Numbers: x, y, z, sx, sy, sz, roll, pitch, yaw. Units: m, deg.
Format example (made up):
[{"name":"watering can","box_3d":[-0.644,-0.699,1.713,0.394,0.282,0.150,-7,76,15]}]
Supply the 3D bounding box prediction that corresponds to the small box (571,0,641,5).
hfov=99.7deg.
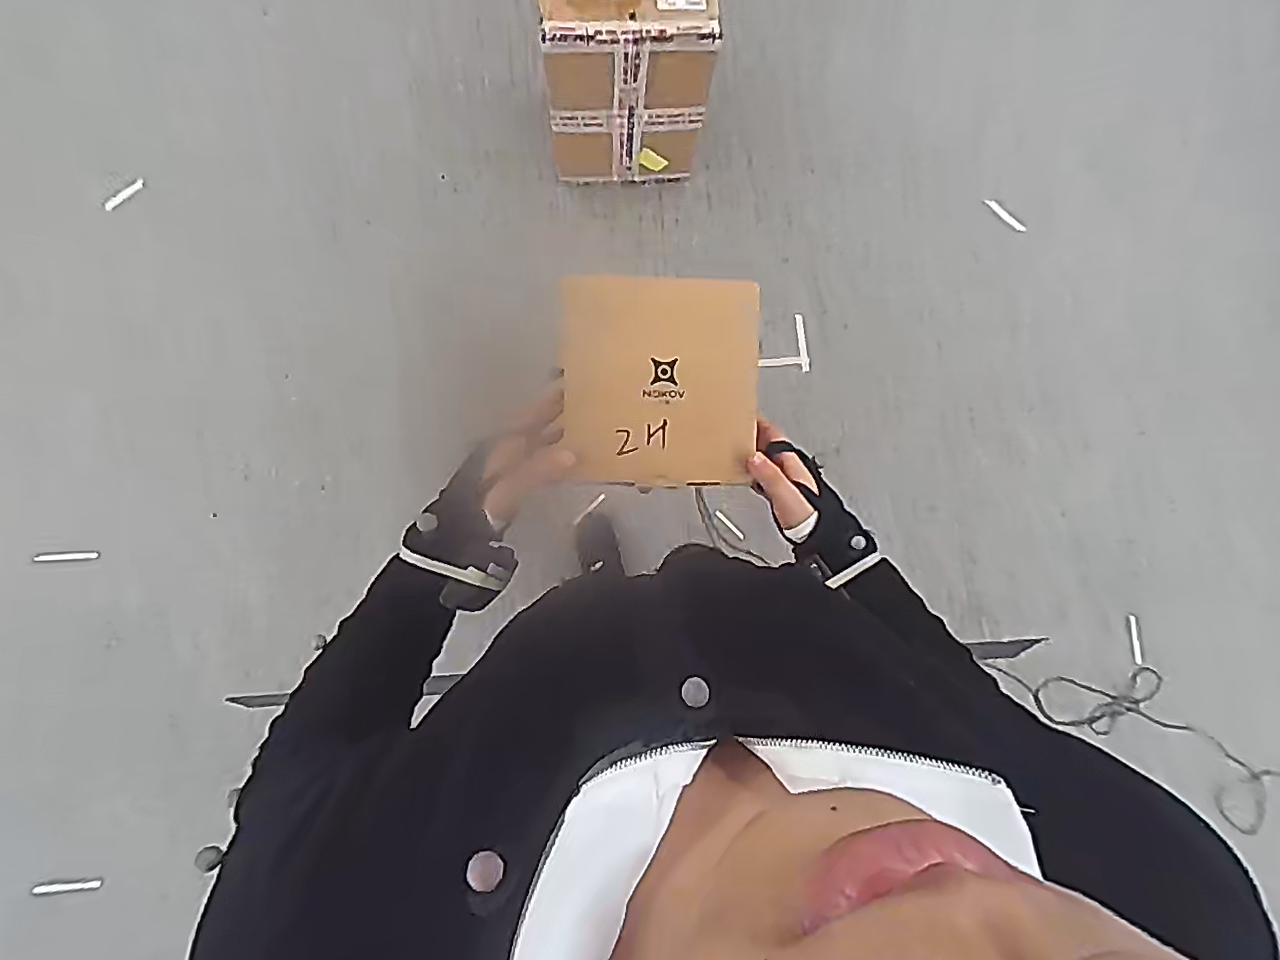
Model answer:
[{"name":"small box","box_3d":[-0.077,-1.099,1.071,0.168,0.176,0.179,-5,87,-3]}]
